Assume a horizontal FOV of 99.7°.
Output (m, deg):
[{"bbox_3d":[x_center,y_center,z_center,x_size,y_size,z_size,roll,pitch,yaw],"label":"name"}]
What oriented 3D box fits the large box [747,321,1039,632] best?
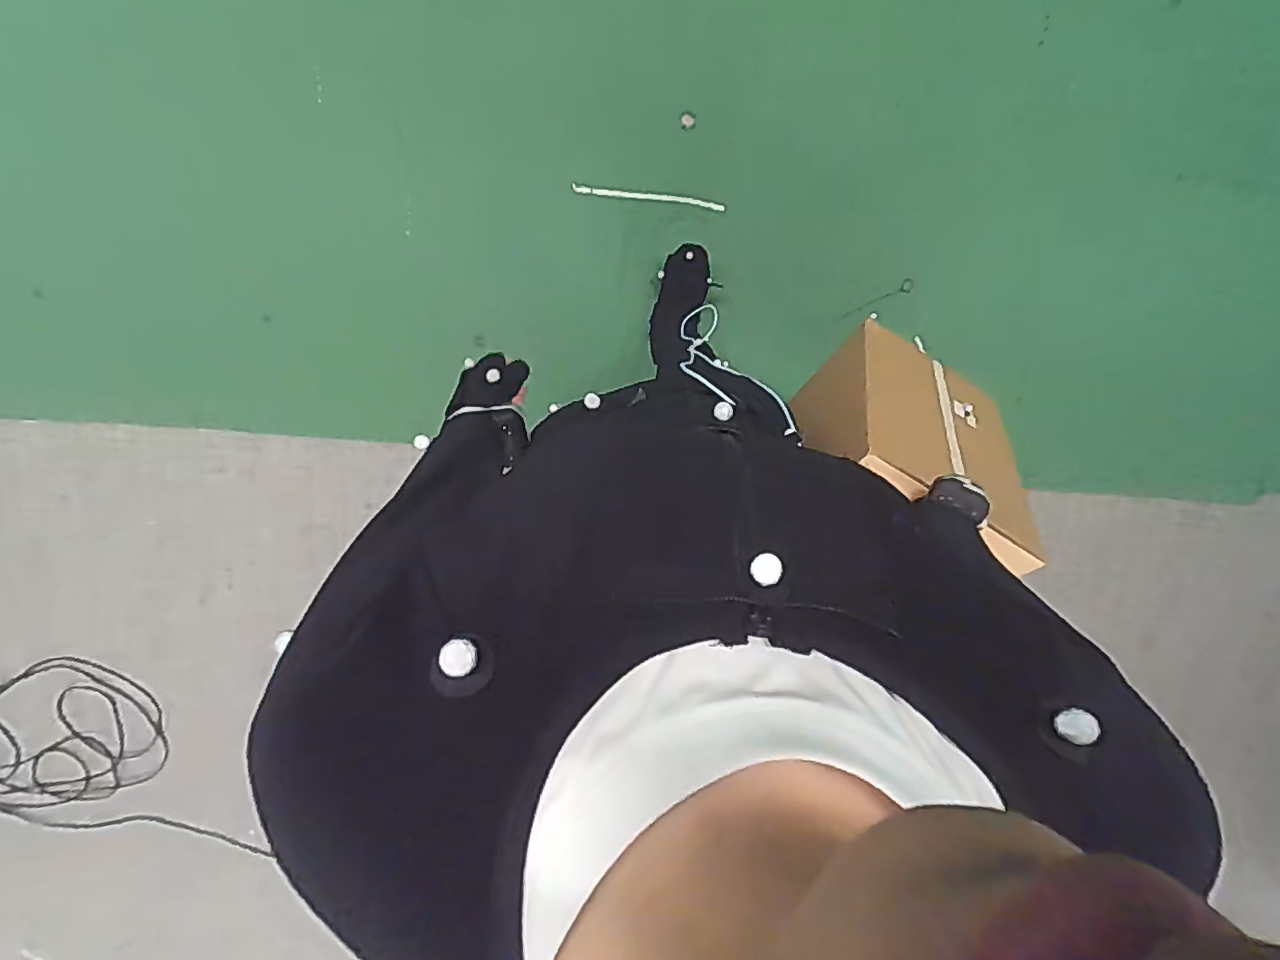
[{"bbox_3d":[0.424,-0.006,0.987,0.320,0.408,0.320,31,135,-7],"label":"large box"}]
